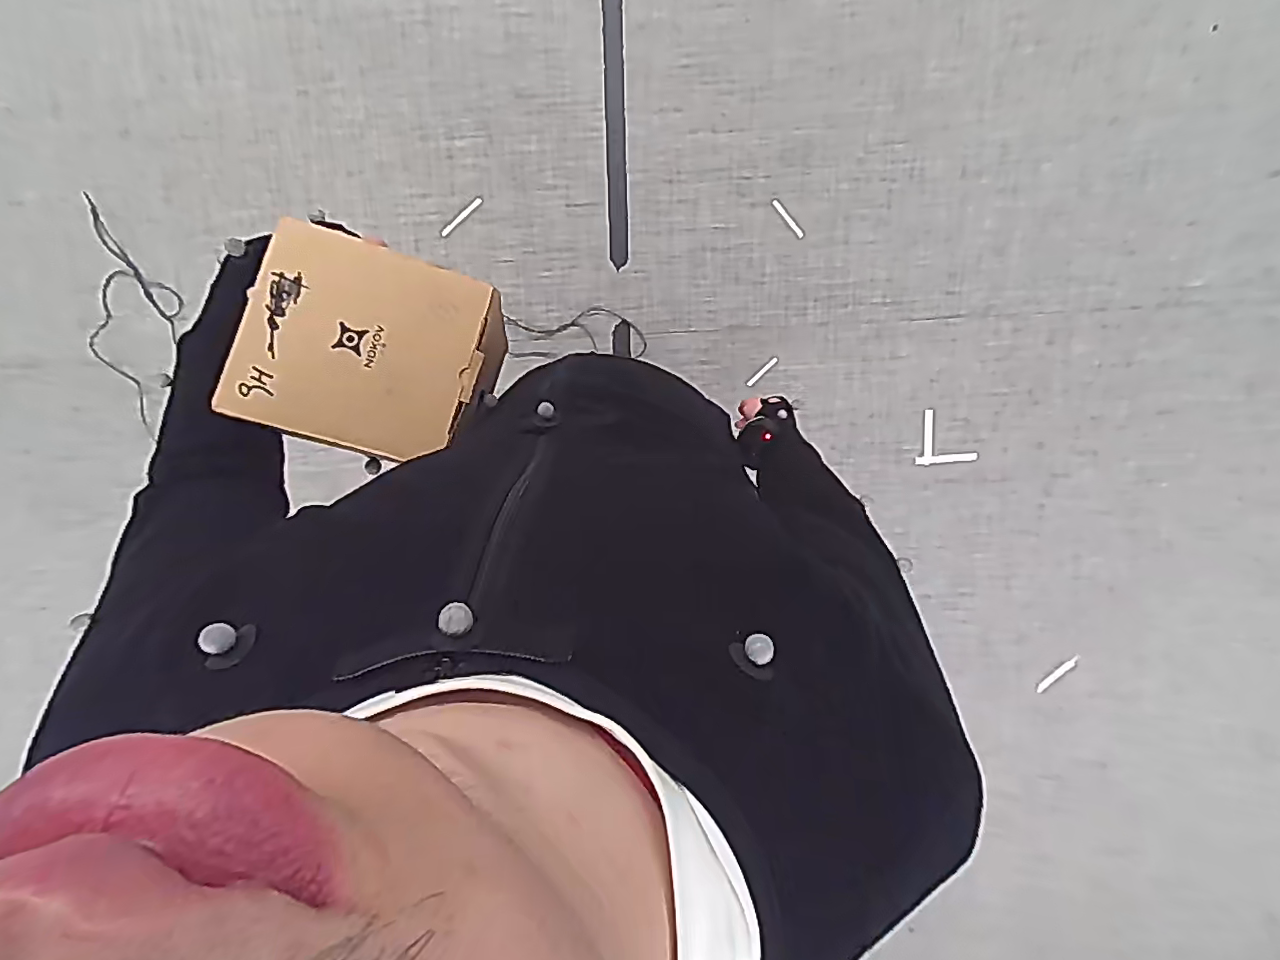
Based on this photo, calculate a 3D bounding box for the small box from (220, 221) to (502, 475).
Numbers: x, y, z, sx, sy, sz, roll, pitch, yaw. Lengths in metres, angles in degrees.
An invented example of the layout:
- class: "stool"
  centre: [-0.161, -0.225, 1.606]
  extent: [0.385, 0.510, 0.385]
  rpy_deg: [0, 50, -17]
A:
- class: "small box"
  centre: [-0.239, -0.105, 0.519]
  extent: [0.179, 0.176, 0.168]
  rpy_deg: [16, 83, -10]
